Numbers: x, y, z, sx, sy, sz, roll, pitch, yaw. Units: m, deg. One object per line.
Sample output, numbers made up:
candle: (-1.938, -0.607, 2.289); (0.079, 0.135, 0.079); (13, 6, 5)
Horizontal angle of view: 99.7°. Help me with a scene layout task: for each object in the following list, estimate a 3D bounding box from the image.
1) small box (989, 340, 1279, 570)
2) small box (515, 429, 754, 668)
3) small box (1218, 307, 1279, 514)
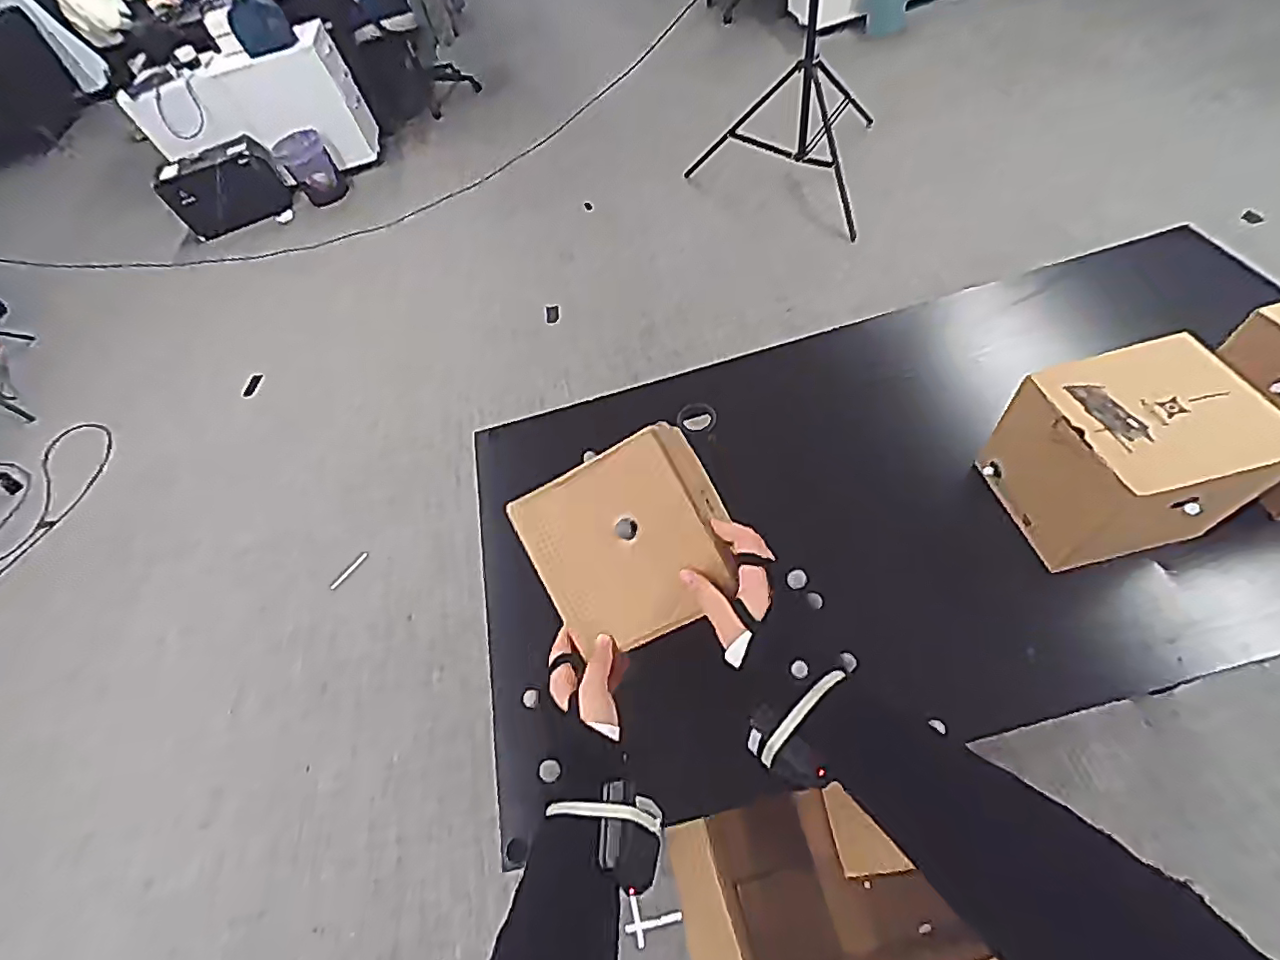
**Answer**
small box: (0.522, -0.019, 0.593); (0.179, 0.176, 0.168); (-14, 55, 1)
small box: (0.000, 0.064, 0.573); (0.176, 0.168, 0.179); (-31, 86, 16)
small box: (0.759, -0.083, 0.584); (0.168, 0.176, 0.179); (-15, 55, 3)
